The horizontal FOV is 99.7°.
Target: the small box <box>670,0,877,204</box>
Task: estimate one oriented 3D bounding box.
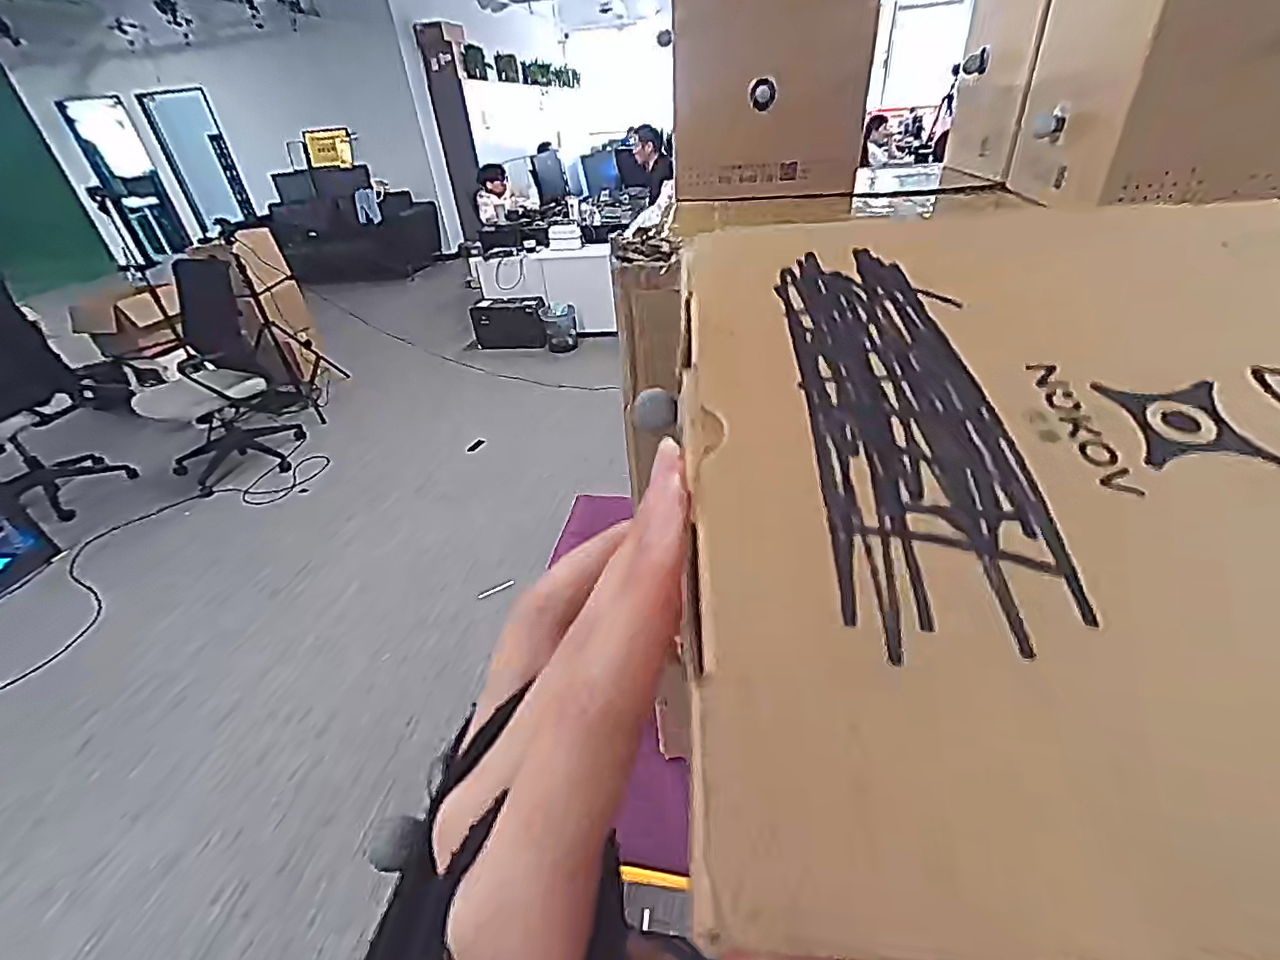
[{"bbox_3d":[0.121,-0.371,0.525,0.168,0.176,0.179,2,35,8],"label":"small box"}]
